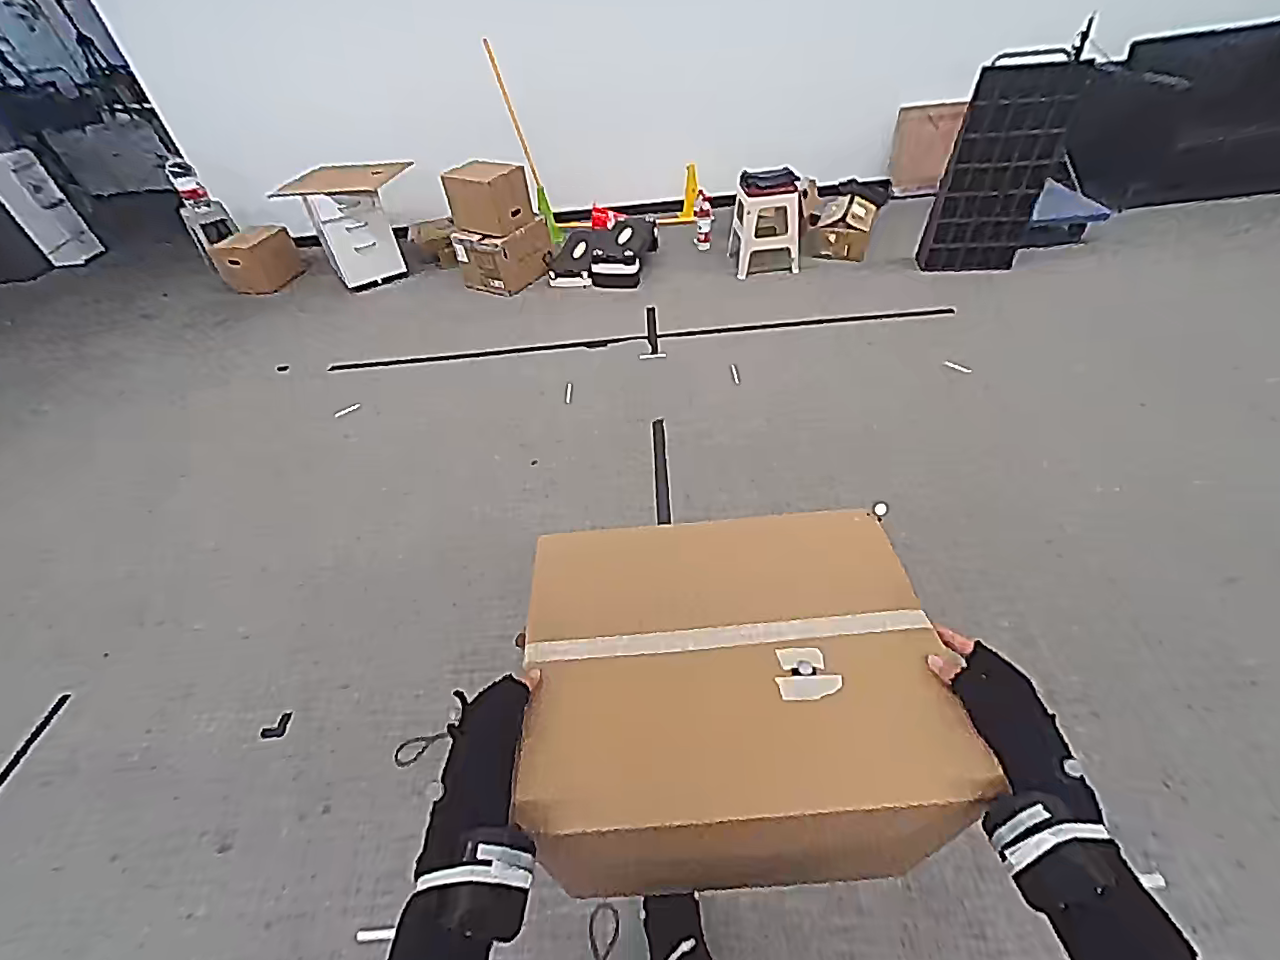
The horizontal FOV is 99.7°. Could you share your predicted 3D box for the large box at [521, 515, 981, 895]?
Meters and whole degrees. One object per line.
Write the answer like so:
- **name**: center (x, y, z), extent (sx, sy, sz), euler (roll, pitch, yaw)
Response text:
- **large box**: center (0.093, 0.275, 0.664), extent (0.408, 0.320, 0.320), euler (-5, 45, 0)
